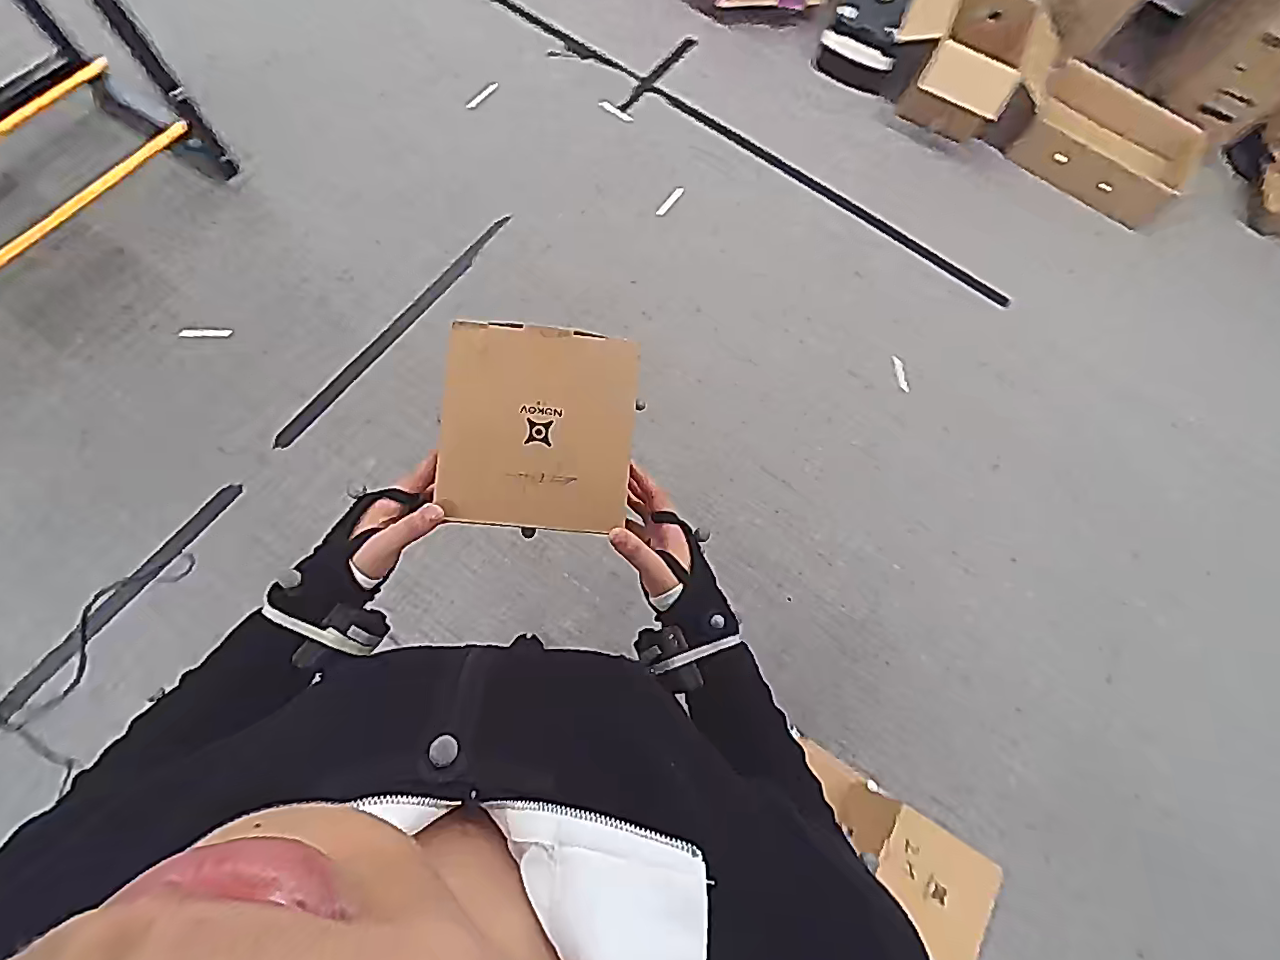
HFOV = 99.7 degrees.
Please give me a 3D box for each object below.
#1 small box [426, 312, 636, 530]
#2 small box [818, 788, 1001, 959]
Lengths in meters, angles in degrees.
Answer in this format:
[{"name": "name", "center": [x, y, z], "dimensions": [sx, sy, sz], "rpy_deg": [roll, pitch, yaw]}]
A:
[{"name": "small box", "center": [-0.100, -0.047, 0.543], "dimensions": [0.168, 0.176, 0.179], "rpy_deg": [5, 88, -6]}, {"name": "small box", "center": [0.427, 0.636, 0.879], "dimensions": [0.179, 0.176, 0.168], "rpy_deg": [33, 70, 7]}]
